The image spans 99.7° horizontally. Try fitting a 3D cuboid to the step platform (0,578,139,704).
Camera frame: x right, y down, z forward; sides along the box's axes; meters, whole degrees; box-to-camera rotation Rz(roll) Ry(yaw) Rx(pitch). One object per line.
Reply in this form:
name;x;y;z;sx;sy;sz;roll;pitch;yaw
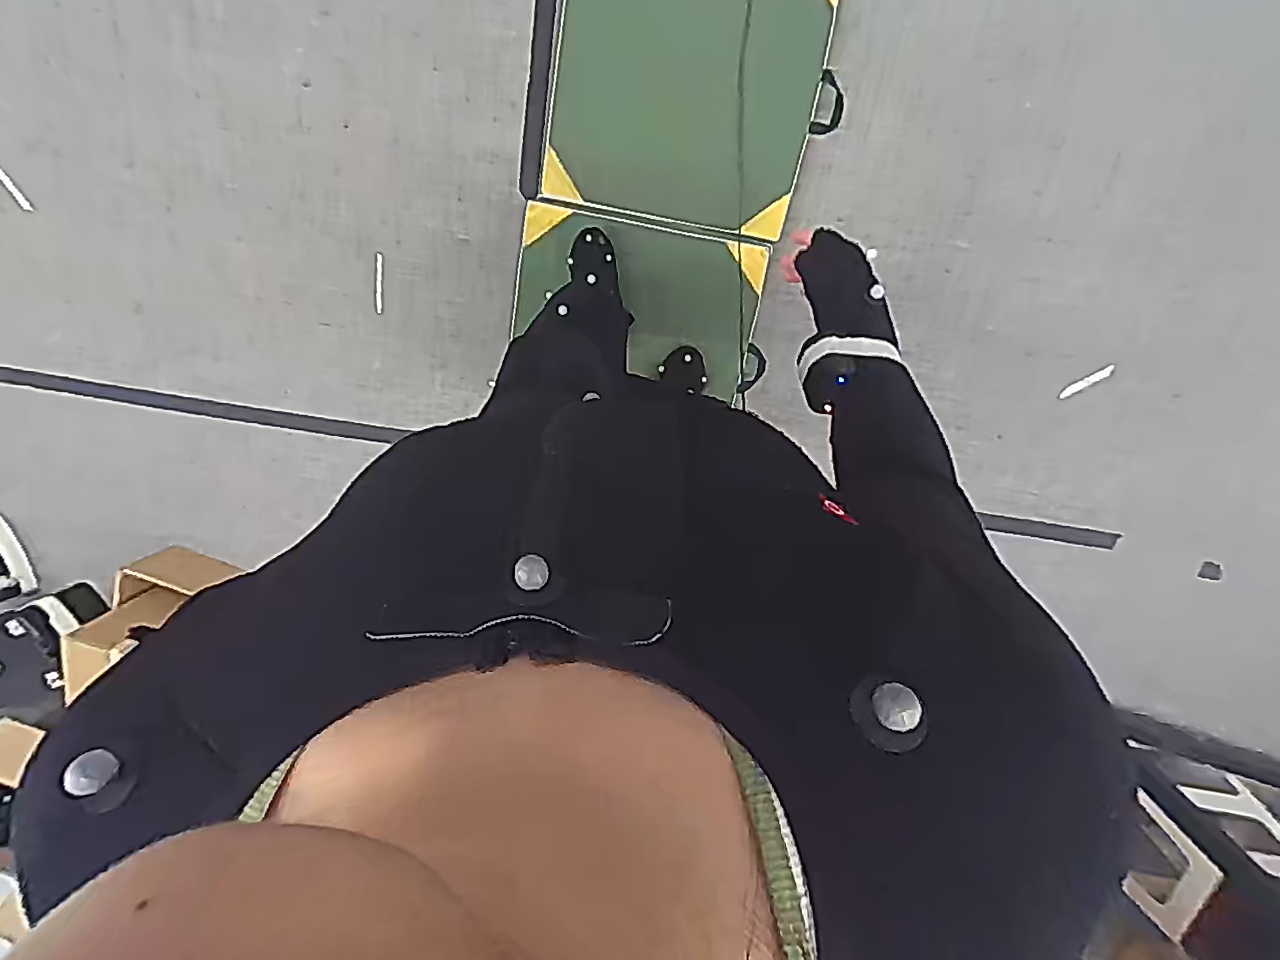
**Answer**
step platform;-2.087;0.569;1.806;0.684;0.204;0.286;-18;105;9
